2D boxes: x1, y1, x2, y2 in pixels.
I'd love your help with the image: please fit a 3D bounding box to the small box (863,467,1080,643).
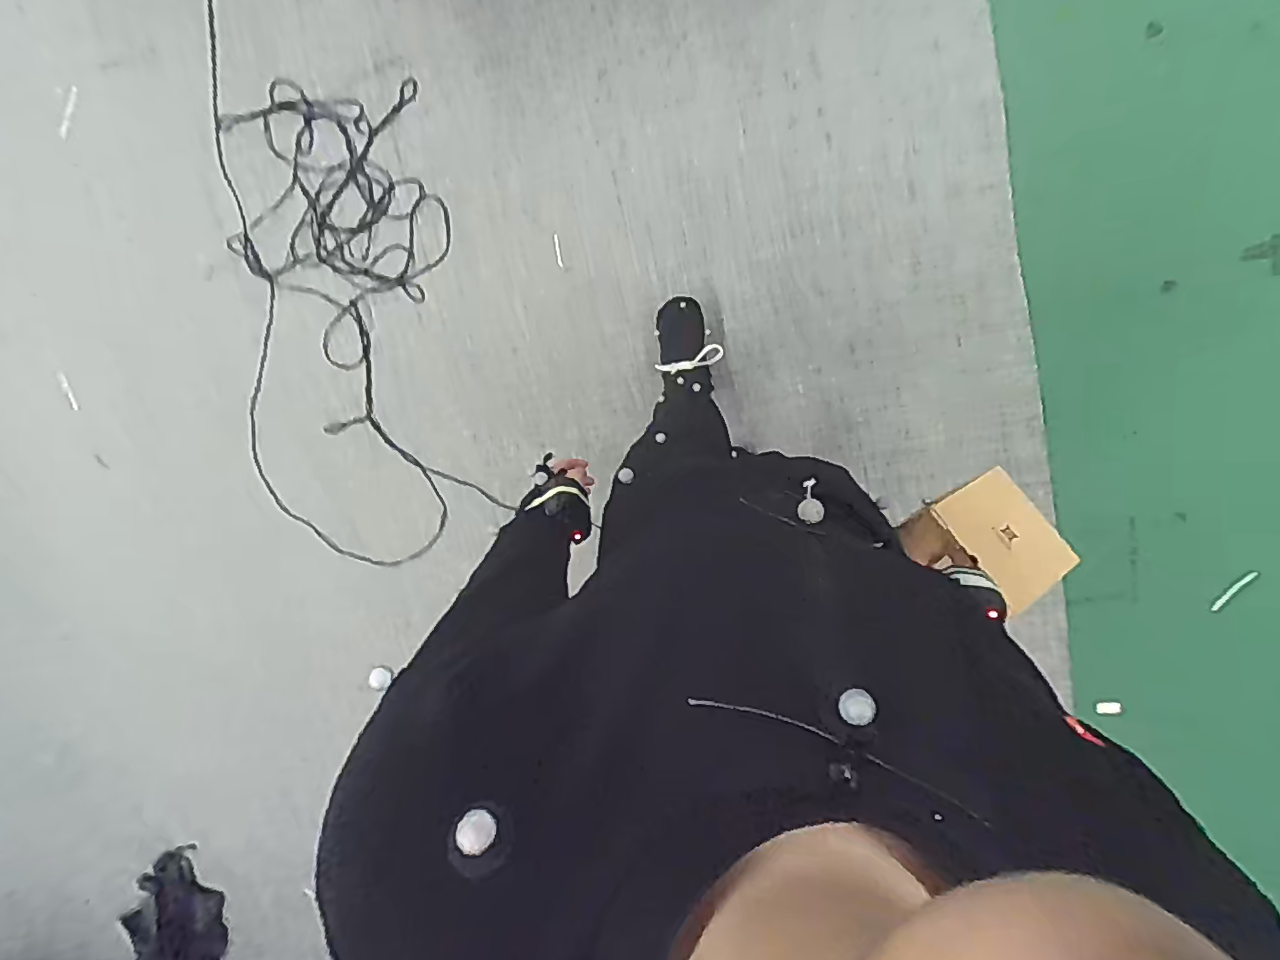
[{"bbox_3d":[0.468,0.111,0.786,0.179,0.176,0.168,-23,70,-28],"label":"small box"}]
